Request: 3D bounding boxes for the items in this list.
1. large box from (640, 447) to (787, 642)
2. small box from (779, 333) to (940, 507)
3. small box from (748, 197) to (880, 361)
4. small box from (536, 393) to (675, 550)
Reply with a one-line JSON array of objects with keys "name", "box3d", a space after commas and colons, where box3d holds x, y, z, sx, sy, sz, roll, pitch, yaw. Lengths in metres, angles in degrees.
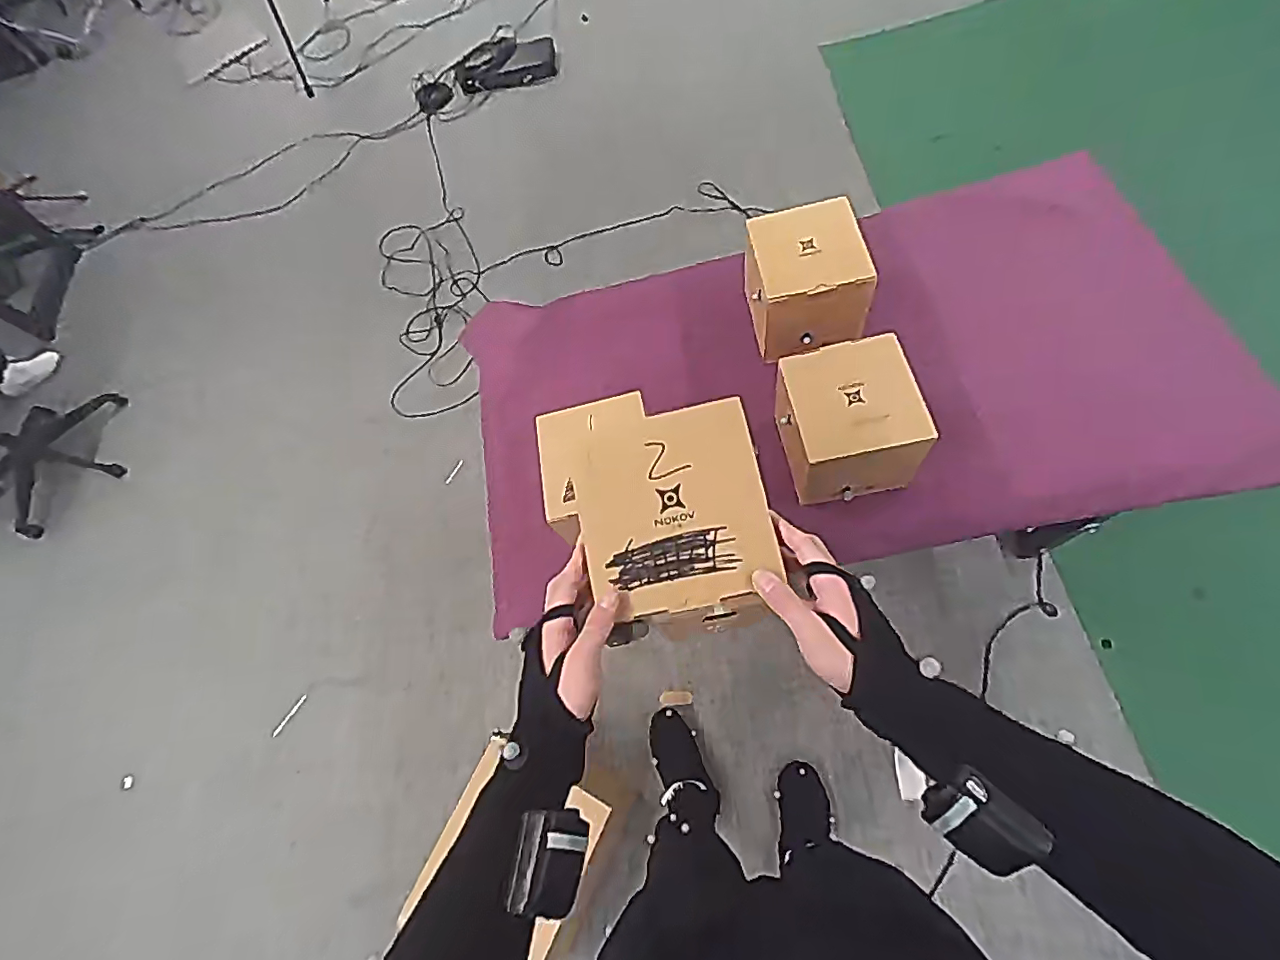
[{"name": "large box", "box3d": [0.181, 0.185, 1.441, 0.320, 0.320, 0.408, -12, 64, 6]}, {"name": "small box", "box3d": [0.304, -0.080, 0.794, 0.168, 0.176, 0.179, -12, 65, 8]}, {"name": "small box", "box3d": [0.277, -0.329, 0.908, 0.168, 0.176, 0.179, -11, 67, 7]}, {"name": "small box", "box3d": [-0.048, -0.002, 0.834, 0.168, 0.176, 0.179, -13, 64, 6]}]
